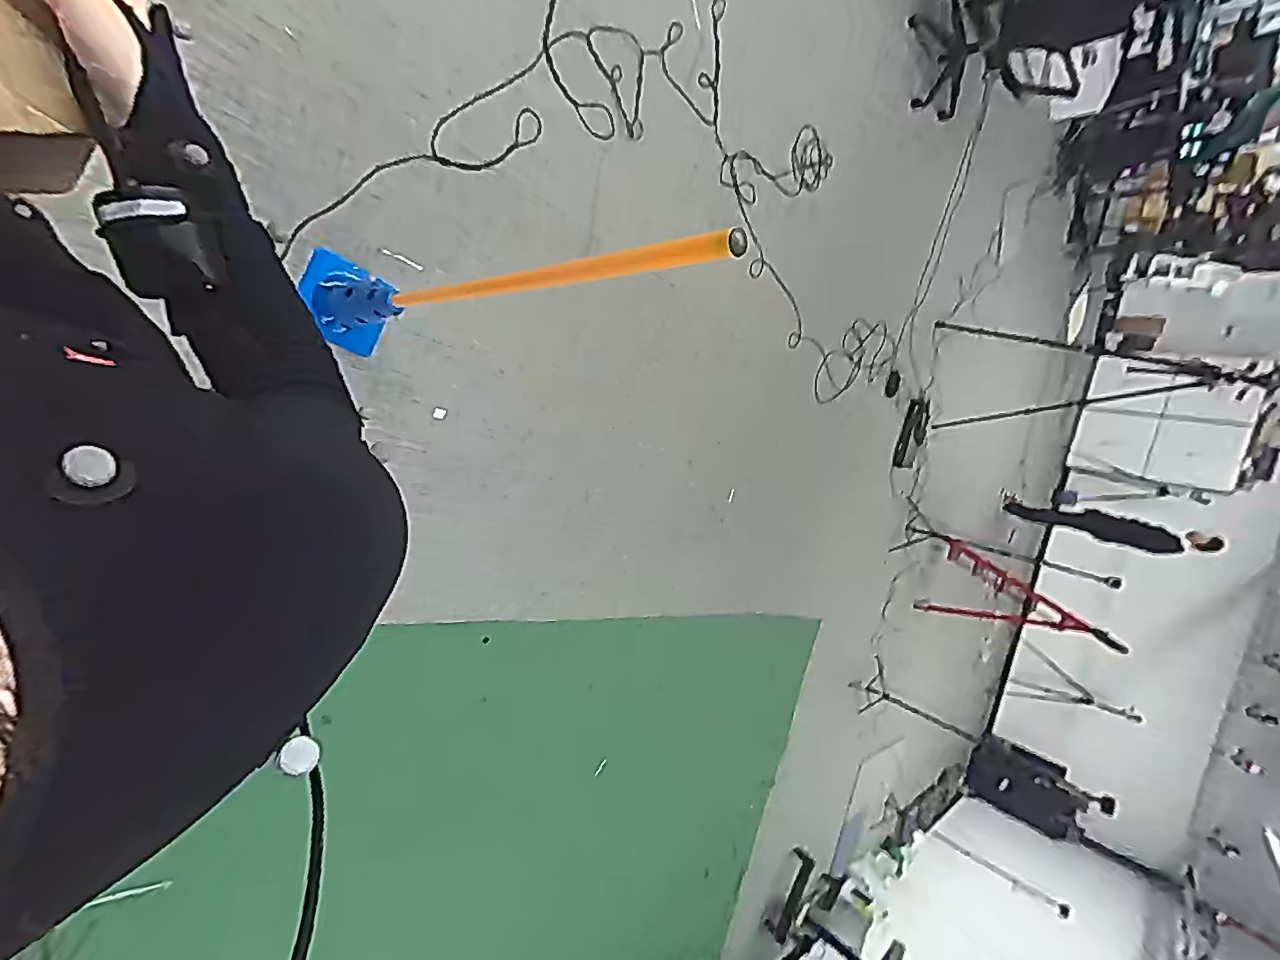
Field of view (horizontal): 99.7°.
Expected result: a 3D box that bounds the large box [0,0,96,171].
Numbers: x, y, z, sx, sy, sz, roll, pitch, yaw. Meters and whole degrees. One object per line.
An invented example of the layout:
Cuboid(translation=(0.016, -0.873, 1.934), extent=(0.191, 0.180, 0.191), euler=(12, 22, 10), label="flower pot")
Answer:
Cuboid(translation=(-0.608, -0.346, 0.255), extent=(0.408, 0.320, 0.320), euler=(-27, 124, -43), label="large box")

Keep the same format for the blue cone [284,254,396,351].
Cuboid(translation=(-0.629, -0.397, 1.207), extent=(0.193, 0.380, 0.192), euler=(26, 84, -45), label="blue cone")
